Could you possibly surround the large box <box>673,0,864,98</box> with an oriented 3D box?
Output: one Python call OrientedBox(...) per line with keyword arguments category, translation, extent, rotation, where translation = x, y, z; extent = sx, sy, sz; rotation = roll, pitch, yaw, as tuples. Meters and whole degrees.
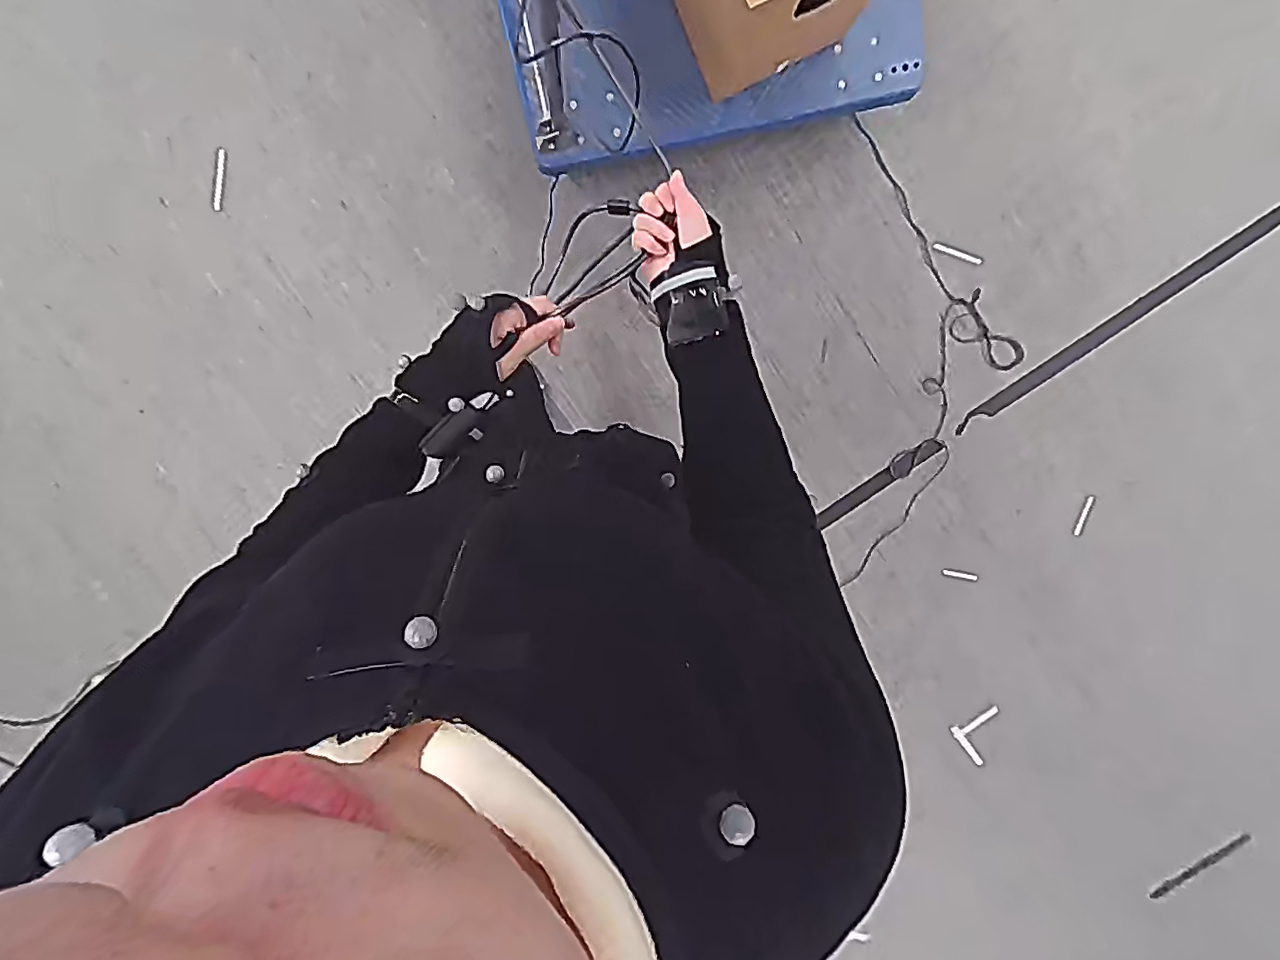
OrientedBox(category="large box", translation=(0.215, -1.024, 0.972), extent=(0.320, 0.320, 0.408), rotation=(-26, 102, 3))
